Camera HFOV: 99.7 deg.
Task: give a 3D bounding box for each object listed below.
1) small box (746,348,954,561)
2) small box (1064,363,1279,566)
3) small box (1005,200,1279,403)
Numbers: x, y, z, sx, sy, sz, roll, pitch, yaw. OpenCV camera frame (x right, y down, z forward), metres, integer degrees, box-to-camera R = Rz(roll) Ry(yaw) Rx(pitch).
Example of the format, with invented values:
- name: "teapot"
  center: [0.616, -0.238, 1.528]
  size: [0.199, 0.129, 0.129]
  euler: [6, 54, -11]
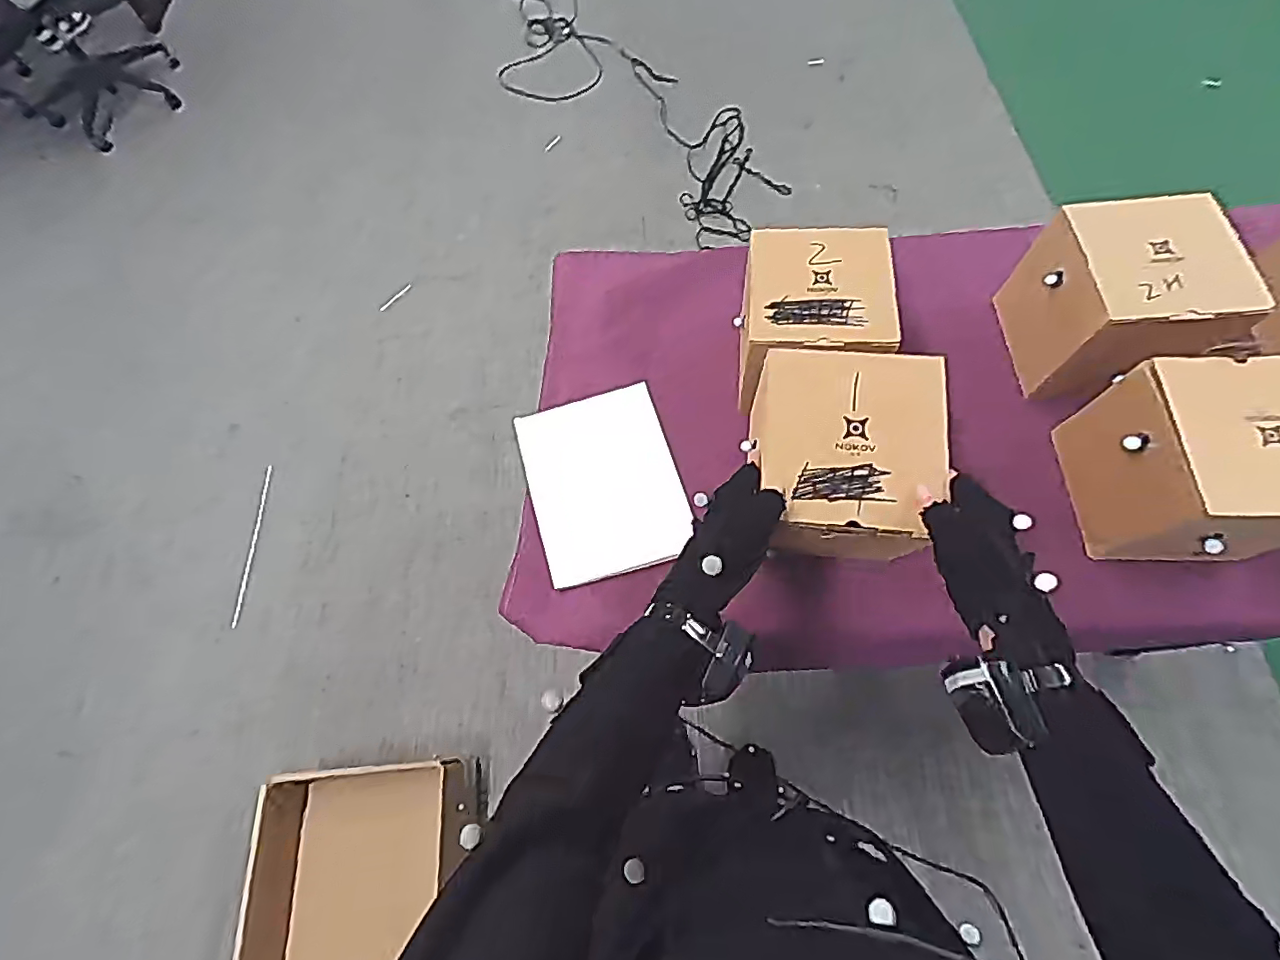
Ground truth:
- name: "small box"
  center: [0.204, -0.015, 0.564]
  size: [0.168, 0.176, 0.179]
  euler: [5, 75, 6]
- name: "small box"
  center: [0.614, -0.008, 0.589]
  size: [0.168, 0.176, 0.179]
  euler: [1, 68, 7]
- name: "small box"
  center: [0.595, -0.214, 0.674]
  size: [0.168, 0.176, 0.179]
  euler: [-1, 67, 5]
